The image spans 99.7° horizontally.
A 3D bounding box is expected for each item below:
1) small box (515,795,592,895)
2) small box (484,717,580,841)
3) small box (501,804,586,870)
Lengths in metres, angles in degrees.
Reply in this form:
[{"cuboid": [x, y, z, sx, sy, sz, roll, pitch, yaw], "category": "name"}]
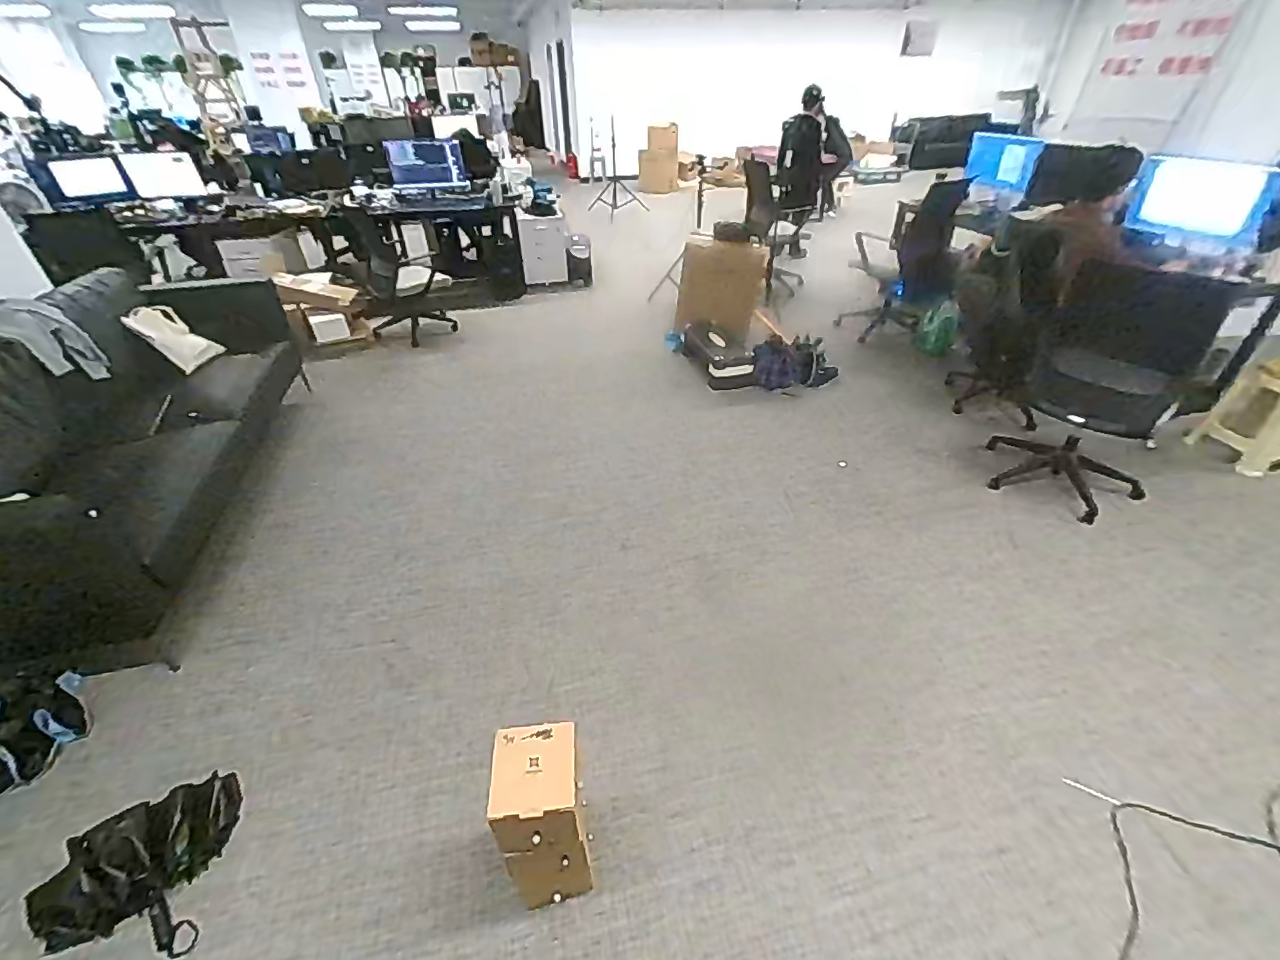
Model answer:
[{"cuboid": [-0.216, 0.870, 1.324, 0.168, 0.176, 0.179, -10, 40, -10], "category": "small box"}, {"cuboid": [-0.214, 0.621, 1.116, 0.168, 0.176, 0.179, -5, 39, -4], "category": "small box"}, {"cuboid": [-0.219, 0.747, 1.219, 0.168, 0.176, 0.179, -8, 38, -10], "category": "small box"}]
